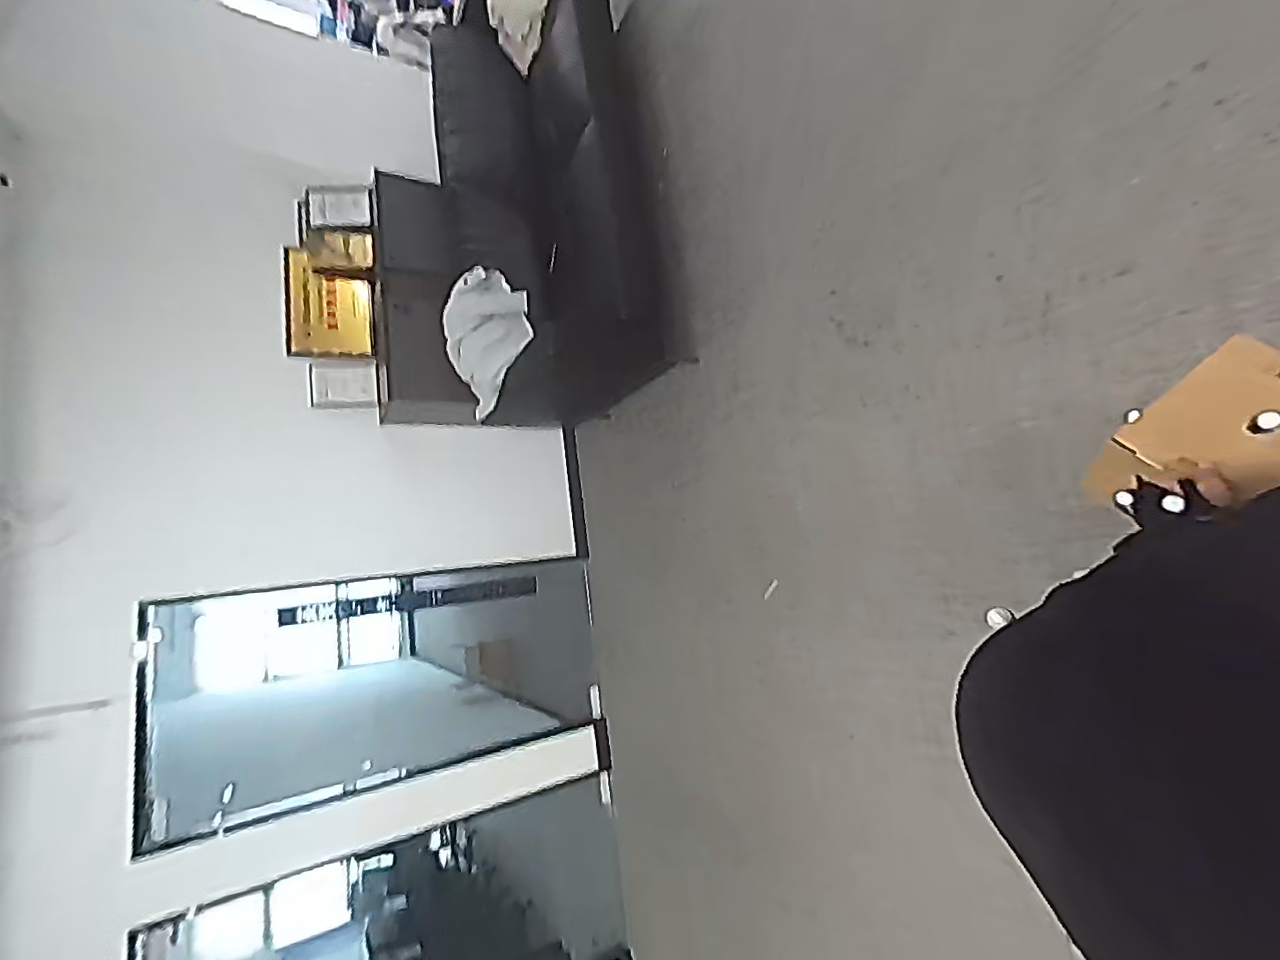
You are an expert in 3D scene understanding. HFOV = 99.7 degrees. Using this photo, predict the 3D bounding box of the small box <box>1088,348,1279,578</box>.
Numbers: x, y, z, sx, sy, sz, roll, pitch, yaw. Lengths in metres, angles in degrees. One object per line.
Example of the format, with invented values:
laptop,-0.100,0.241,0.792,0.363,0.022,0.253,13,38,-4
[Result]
small box,0.685,-0.018,0.626,0.176,0.179,0.168,-42,55,6
